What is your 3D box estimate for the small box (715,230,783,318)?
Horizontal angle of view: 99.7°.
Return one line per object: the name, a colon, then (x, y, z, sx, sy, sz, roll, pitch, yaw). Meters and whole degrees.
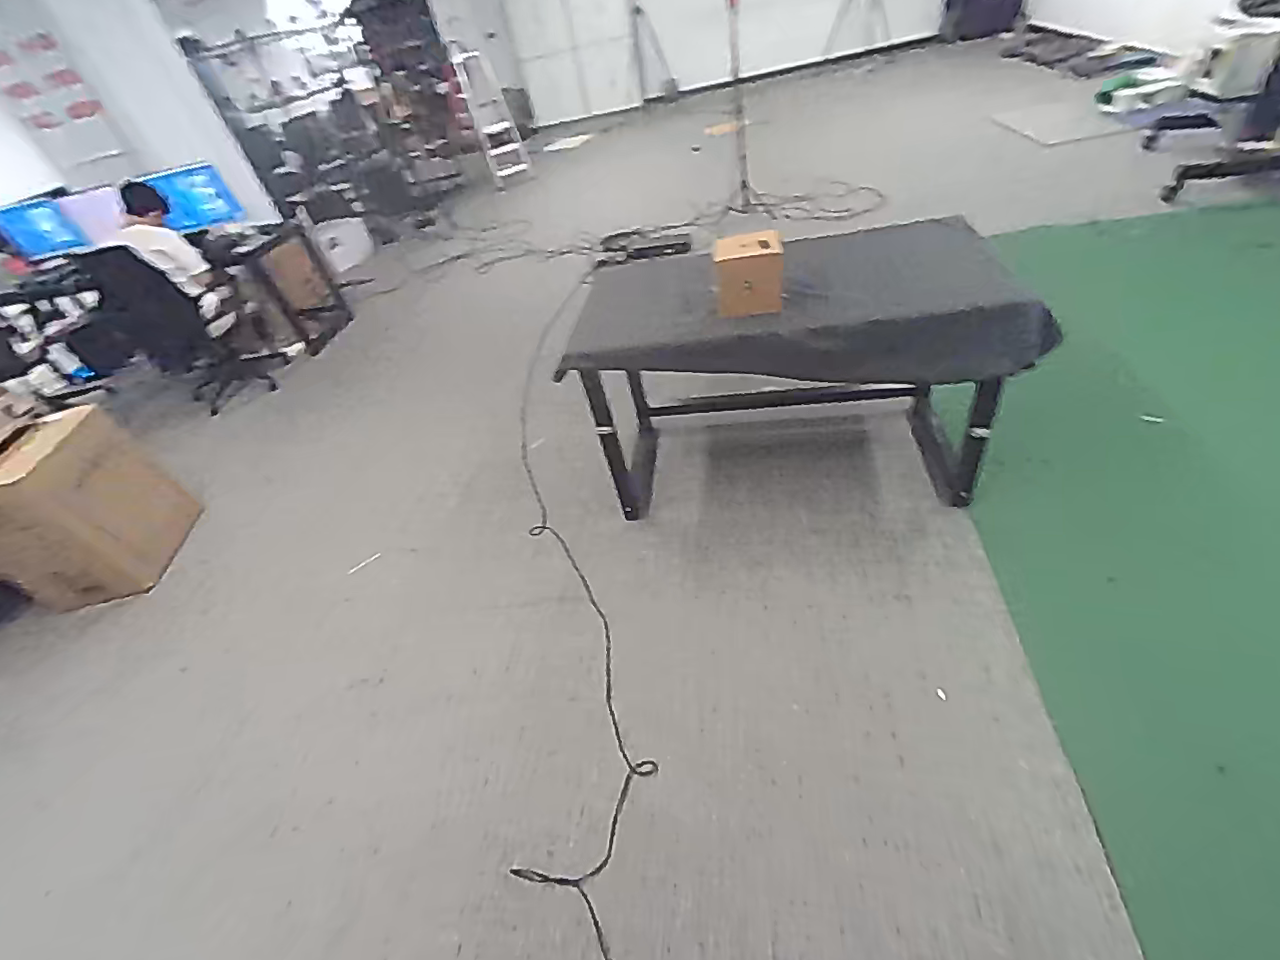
small box: (0.309, -0.575, 1.514, 0.179, 0.176, 0.168, -3, 42, 14)
